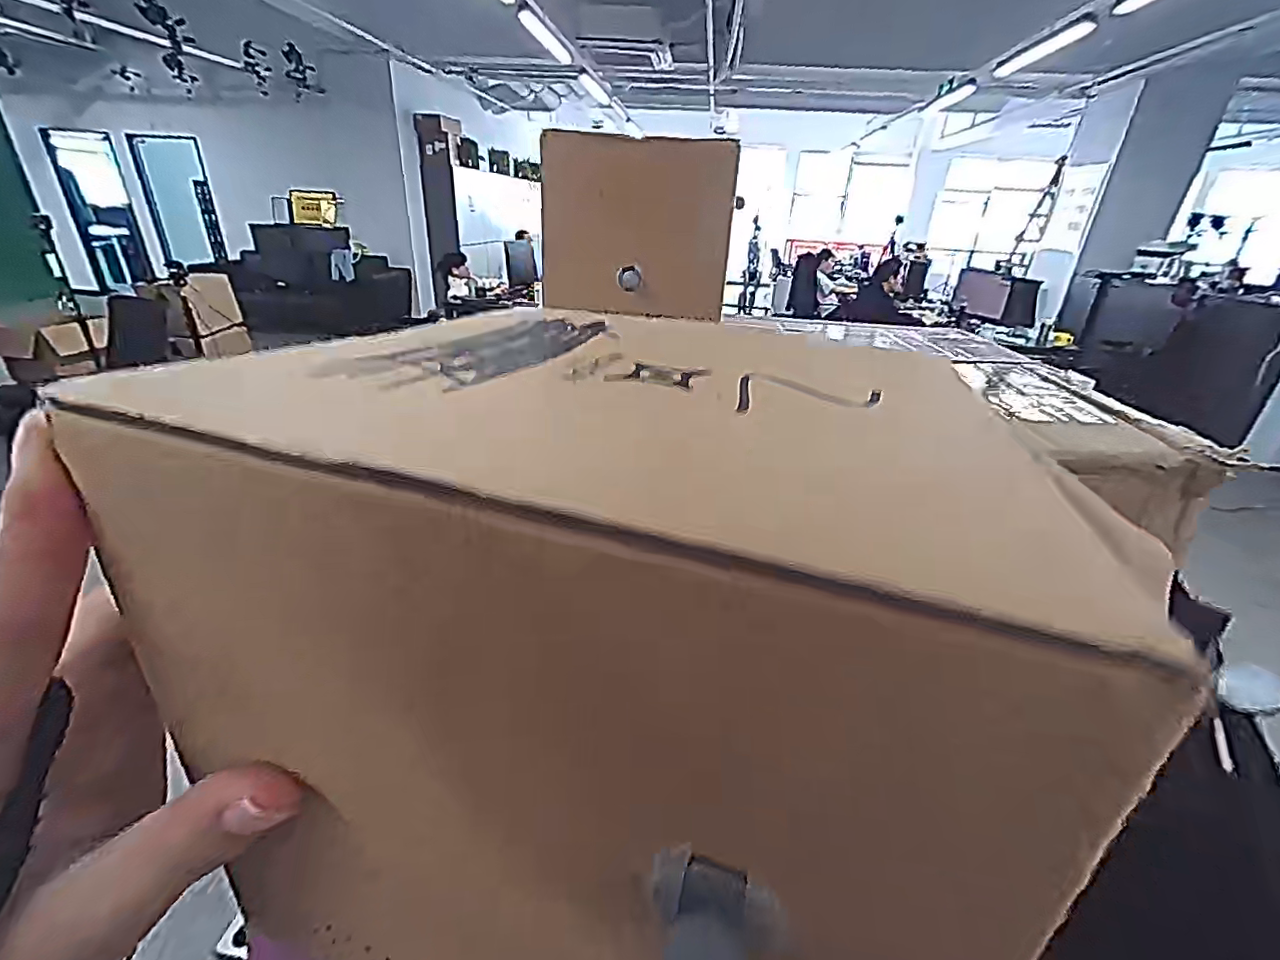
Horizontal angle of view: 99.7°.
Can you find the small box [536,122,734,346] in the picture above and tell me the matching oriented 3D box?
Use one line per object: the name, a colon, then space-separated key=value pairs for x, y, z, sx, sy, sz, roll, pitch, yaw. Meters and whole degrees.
small box: x=-0.001 y=-0.240 z=0.540 sx=0.168 sy=0.176 sz=0.179 roll=5 pitch=26 yaw=4
